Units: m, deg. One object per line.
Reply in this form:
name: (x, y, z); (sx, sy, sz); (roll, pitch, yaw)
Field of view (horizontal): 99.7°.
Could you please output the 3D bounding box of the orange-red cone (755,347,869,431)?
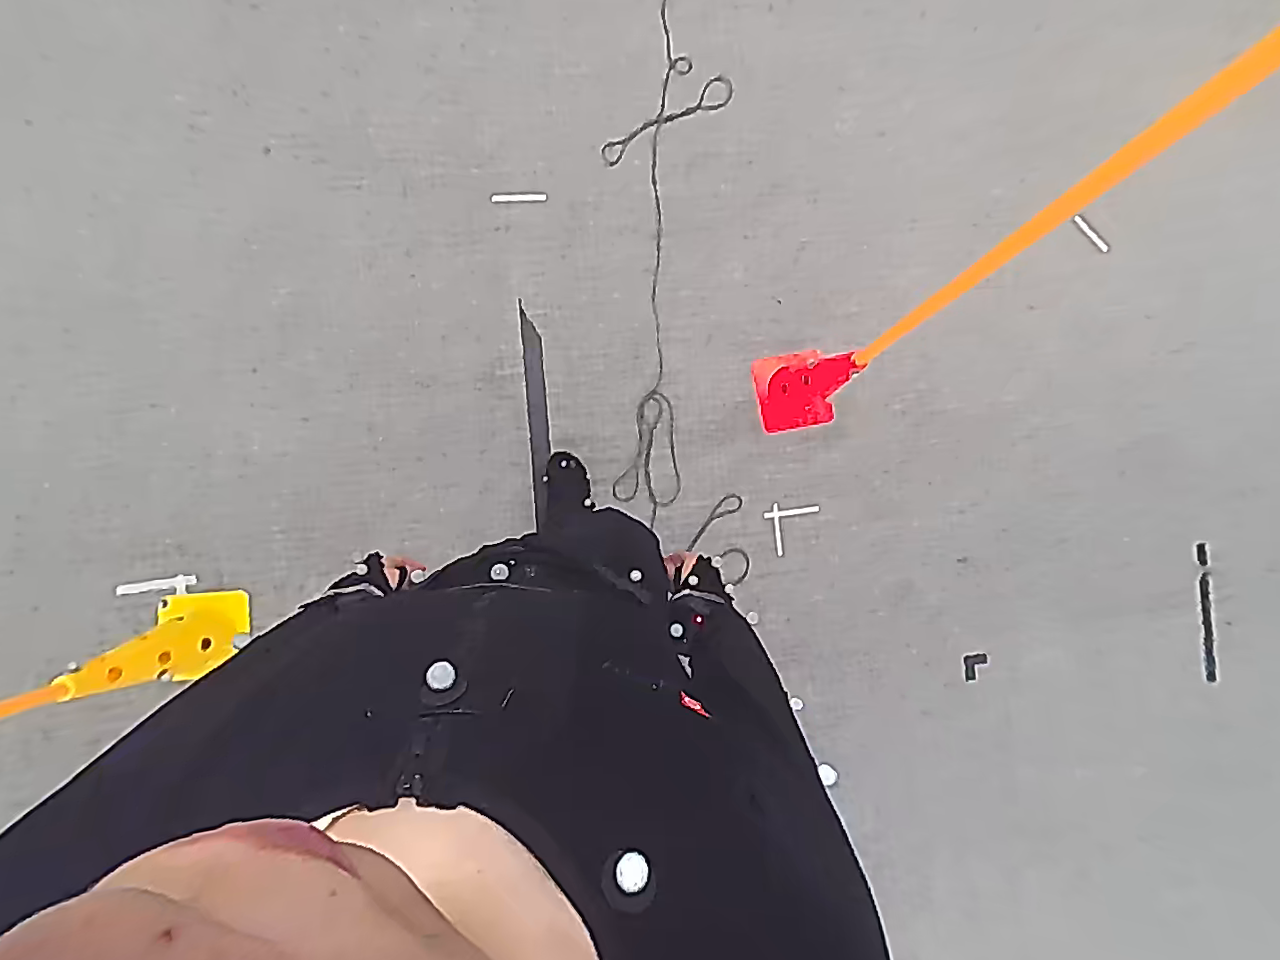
orange-red cone: (0.425, -0.241, 1.254); (0.199, 0.360, 0.198); (-10, 89, -5)
